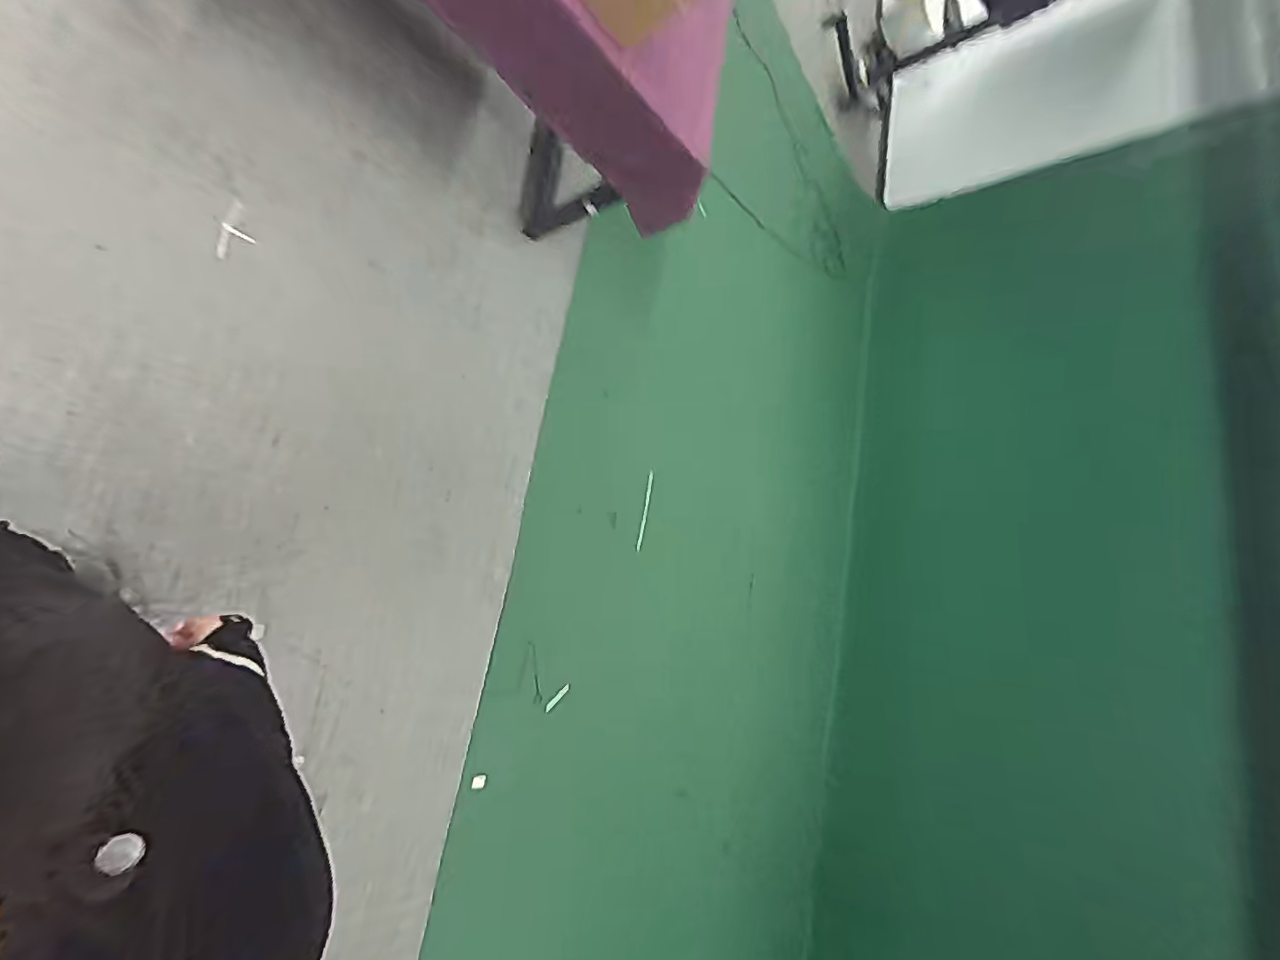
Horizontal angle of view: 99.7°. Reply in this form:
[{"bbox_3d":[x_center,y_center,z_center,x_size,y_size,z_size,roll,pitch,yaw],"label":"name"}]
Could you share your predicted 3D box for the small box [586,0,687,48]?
[{"bbox_3d":[-0.011,-1.057,1.115,0.179,0.176,0.168,22,73,-47],"label":"small box"}]
